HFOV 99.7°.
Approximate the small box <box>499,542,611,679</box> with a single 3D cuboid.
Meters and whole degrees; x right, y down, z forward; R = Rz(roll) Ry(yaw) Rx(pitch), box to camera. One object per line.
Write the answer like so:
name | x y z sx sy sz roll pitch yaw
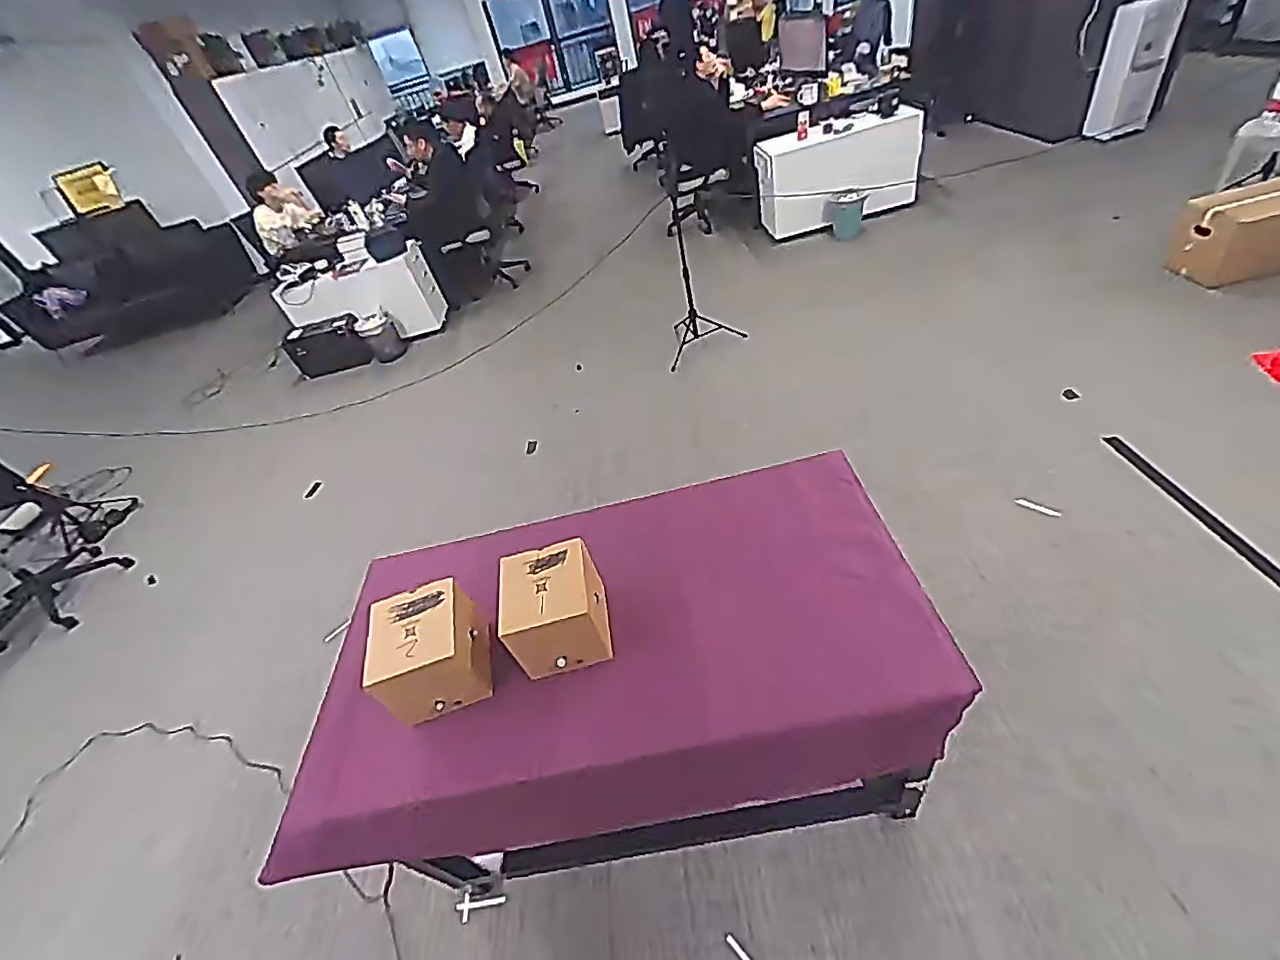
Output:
small box | -0.161 0.254 1.048 0.168 0.176 0.179 -16 42 2
